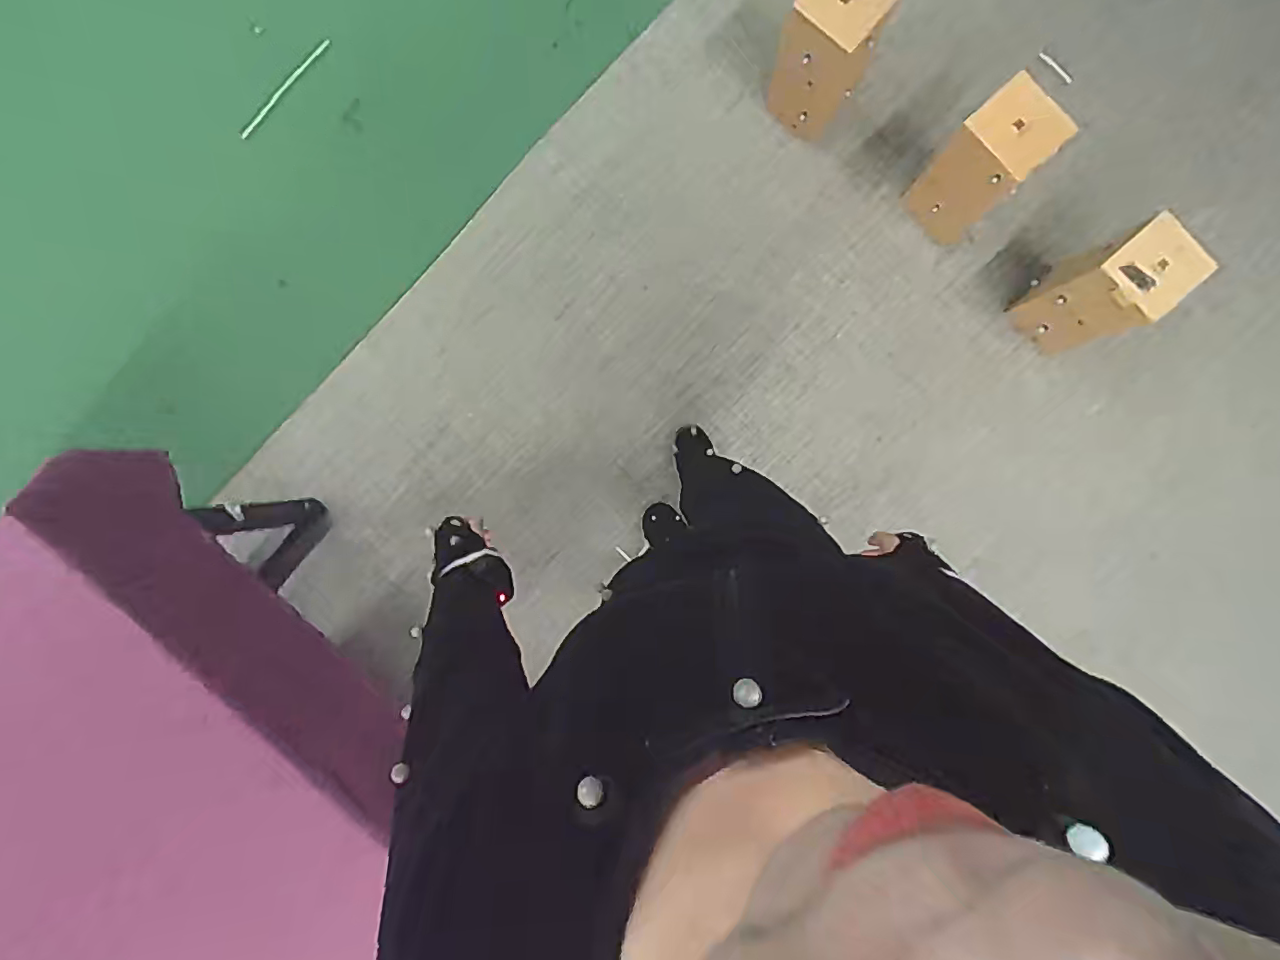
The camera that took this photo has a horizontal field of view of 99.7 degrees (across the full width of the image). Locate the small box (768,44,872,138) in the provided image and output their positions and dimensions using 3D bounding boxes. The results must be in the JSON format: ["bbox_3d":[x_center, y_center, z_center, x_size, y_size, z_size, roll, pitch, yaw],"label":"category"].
[{"bbox_3d":[0.447,-1.031,1.382,0.168,0.176,0.179,43,92,1],"label":"small box"}]

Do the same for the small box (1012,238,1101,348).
[{"bbox_3d":[1.084,-0.458,1.359,0.179,0.176,0.168,-44,89,3],"label":"small box"}]

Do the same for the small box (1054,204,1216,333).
[{"bbox_3d":[1.071,-0.453,1.194,0.179,0.176,0.168,-42,89,2],"label":"small box"}]

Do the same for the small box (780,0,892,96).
[{"bbox_3d":[0.436,-1.027,1.218,0.168,0.176,0.179,41,93,0],"label":"small box"}]

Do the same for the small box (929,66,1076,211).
[{"bbox_3d":[0.792,-0.747,1.205,0.168,0.176,0.179,-42,89,2],"label":"small box"}]
